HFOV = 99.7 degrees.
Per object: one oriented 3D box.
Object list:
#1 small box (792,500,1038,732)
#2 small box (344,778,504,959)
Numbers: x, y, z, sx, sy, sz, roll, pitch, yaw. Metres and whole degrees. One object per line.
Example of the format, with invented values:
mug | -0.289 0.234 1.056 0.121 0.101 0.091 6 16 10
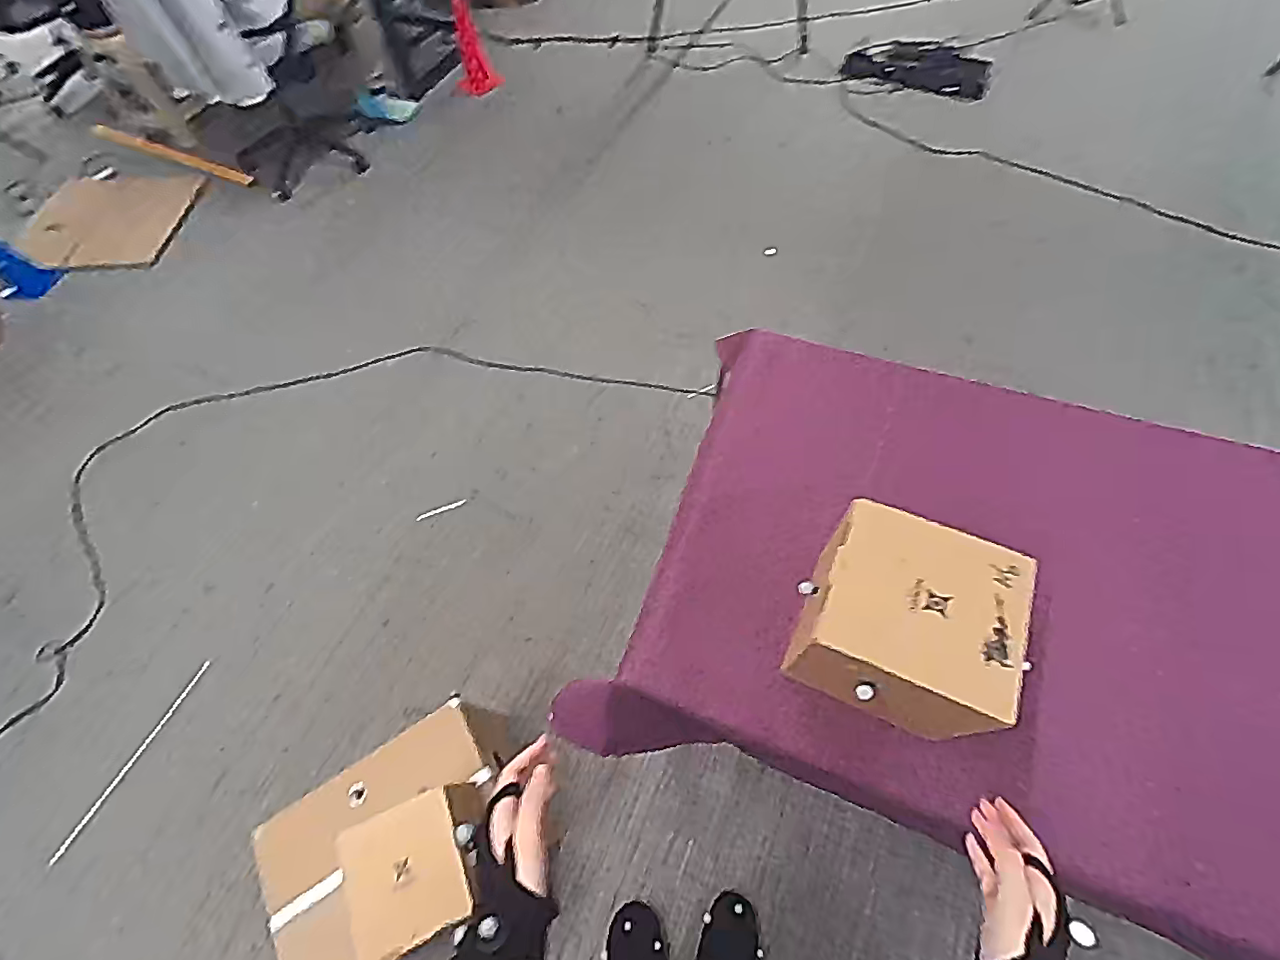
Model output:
small box | 0.278 0.153 0.580 0.179 0.176 0.168 21 65 16
small box | -0.333 0.595 0.856 0.168 0.176 0.179 -23 67 -9
